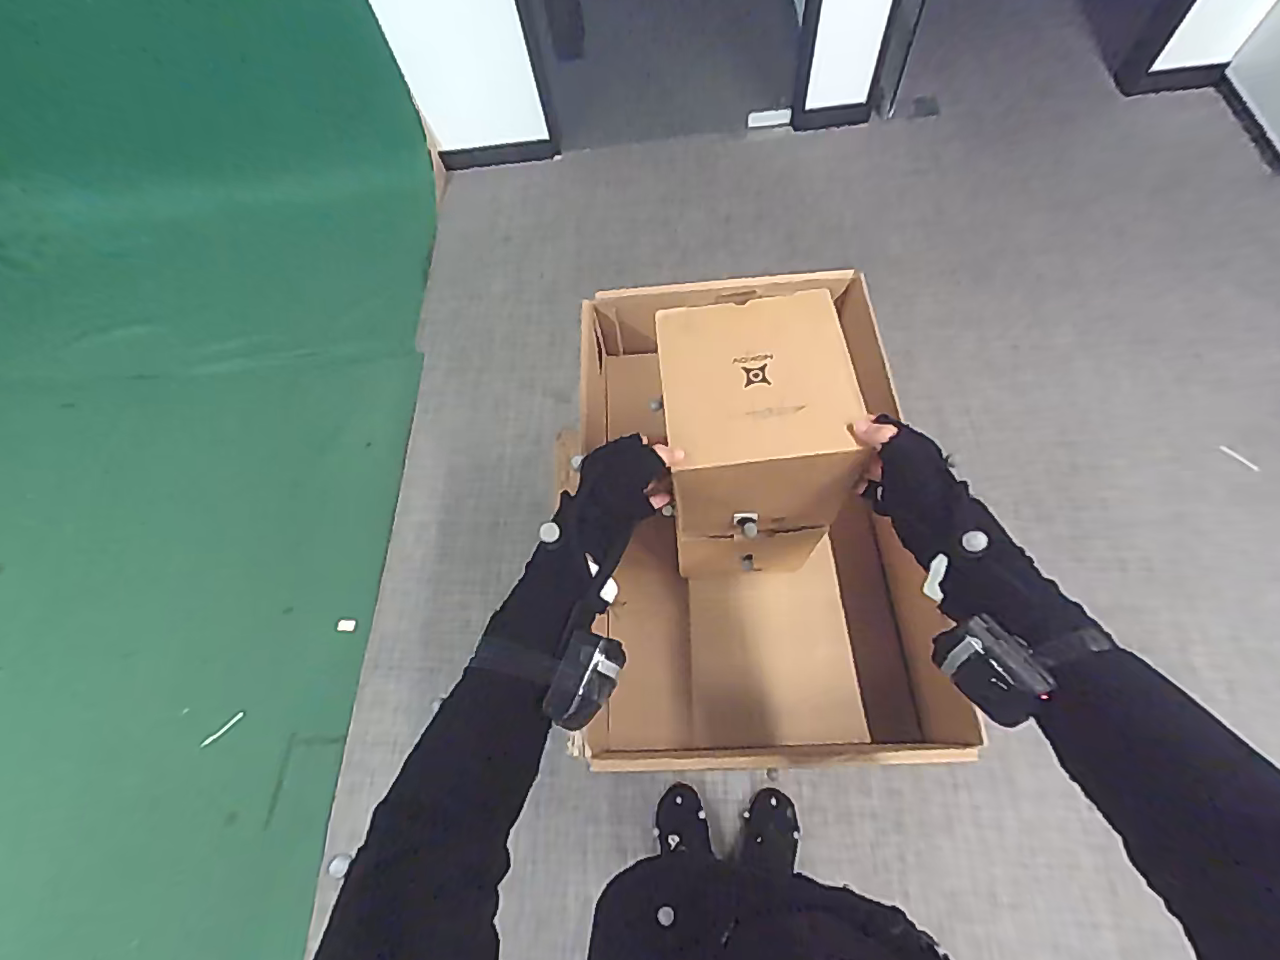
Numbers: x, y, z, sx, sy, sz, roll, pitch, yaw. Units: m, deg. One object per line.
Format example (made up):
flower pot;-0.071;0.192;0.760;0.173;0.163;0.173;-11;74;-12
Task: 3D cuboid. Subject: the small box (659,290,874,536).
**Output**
small box;0.111;-0.058;0.544;0.168;0.176;0.179;-6;65;5

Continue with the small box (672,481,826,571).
small box;0.125;0.015;0.694;0.168;0.176;0.179;-4;65;3
